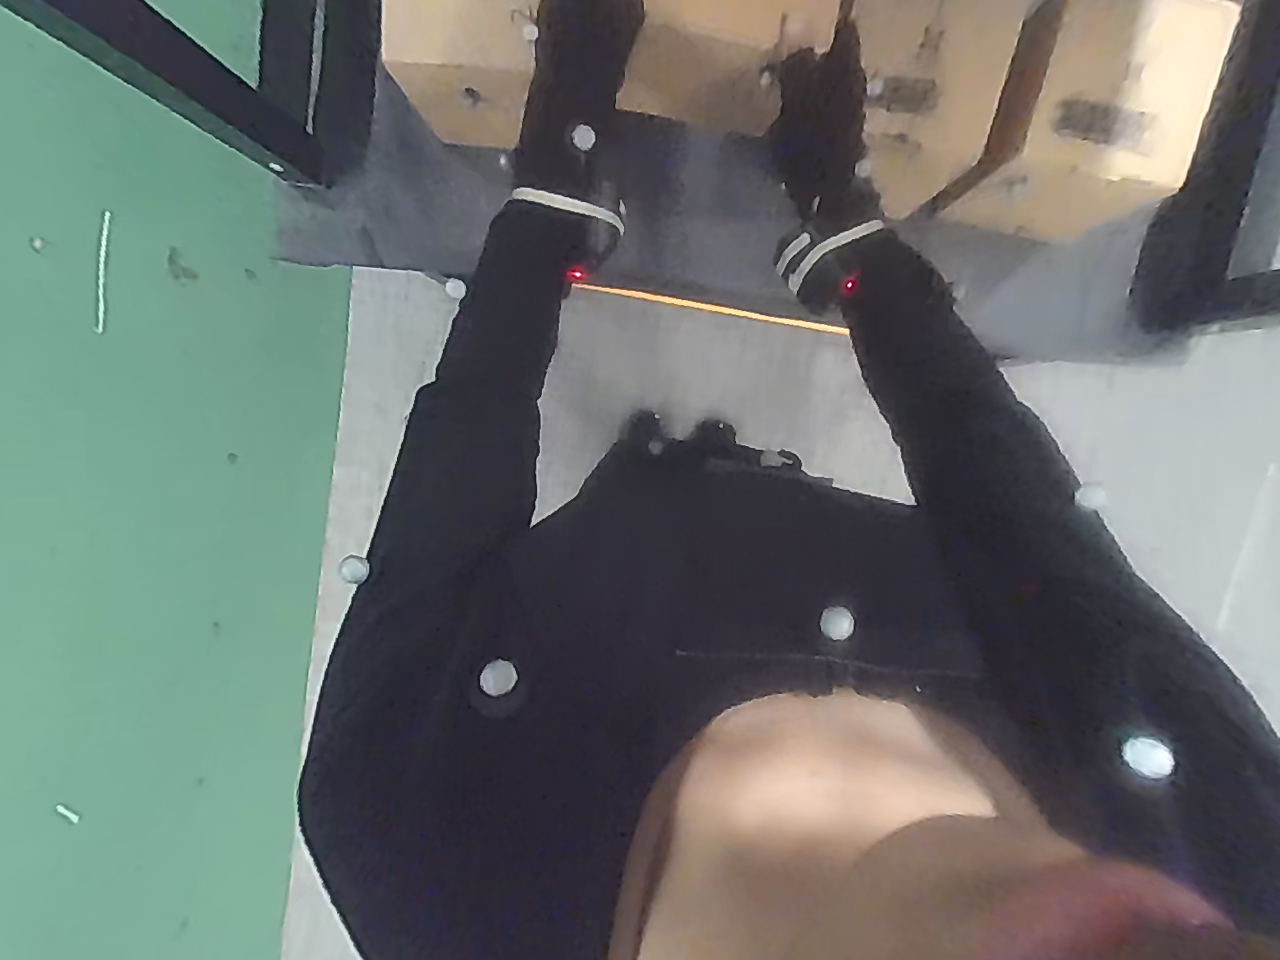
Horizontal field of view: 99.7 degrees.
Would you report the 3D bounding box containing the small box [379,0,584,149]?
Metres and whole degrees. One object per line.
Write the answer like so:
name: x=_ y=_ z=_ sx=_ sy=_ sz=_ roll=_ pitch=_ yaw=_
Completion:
small box: x=-0.164 y=-0.497 z=0.603 sx=0.179 sy=0.176 sz=0.168 roll=5 pitch=98 yaw=0
